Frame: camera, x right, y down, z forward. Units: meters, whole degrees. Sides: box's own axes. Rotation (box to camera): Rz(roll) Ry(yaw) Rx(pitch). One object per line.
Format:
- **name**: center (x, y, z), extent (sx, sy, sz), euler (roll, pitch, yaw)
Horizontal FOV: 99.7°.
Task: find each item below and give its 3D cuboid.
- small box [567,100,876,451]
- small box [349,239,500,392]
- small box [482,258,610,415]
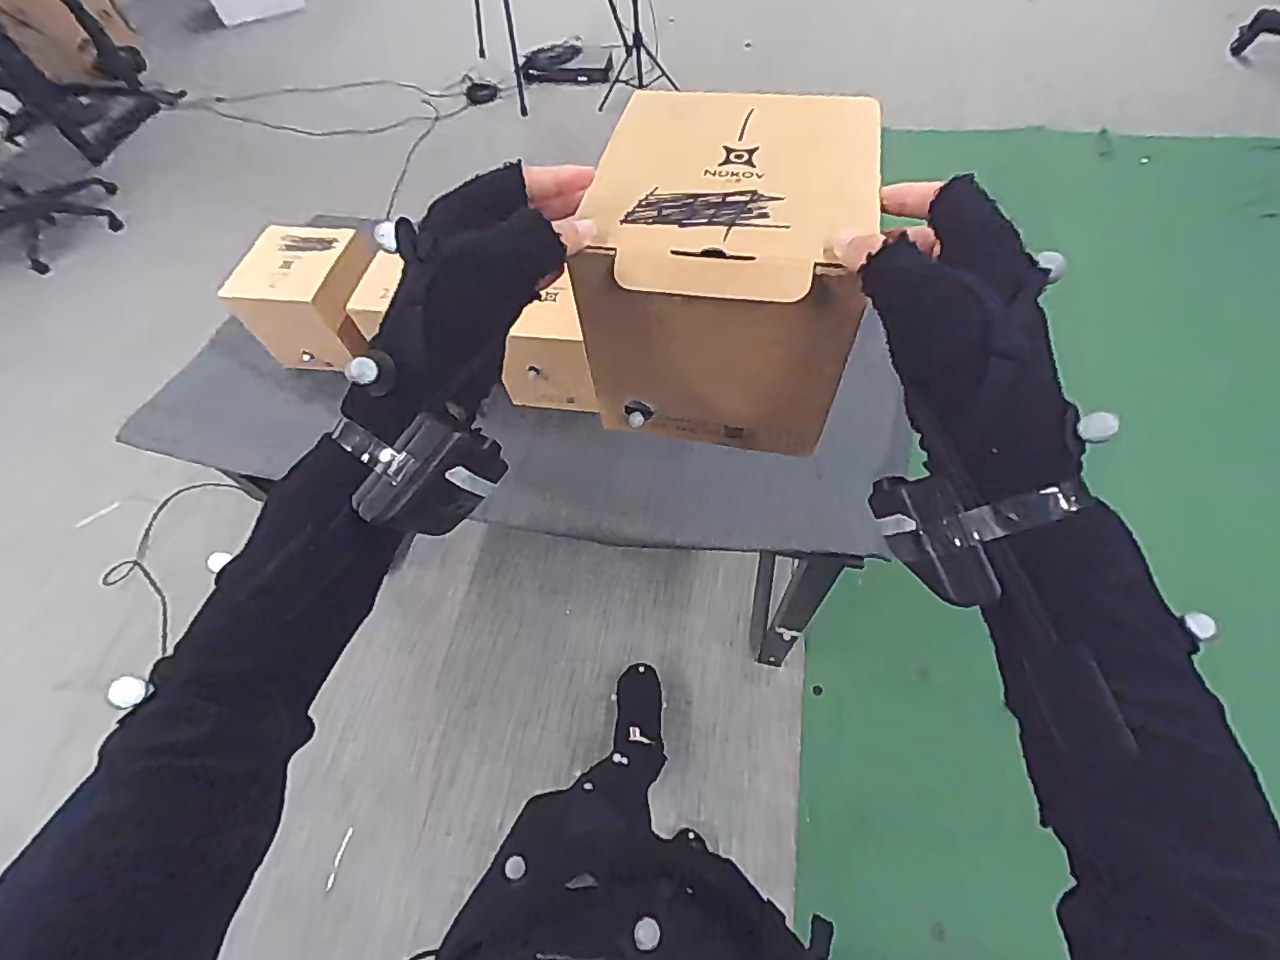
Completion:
- **small box**: center (0.062, -0.142, 0.395), extent (0.168, 0.176, 0.179), euler (9, 59, 10)
- **small box**: center (-0.337, -0.273, 0.902), extent (0.168, 0.176, 0.179), euler (6, 60, 8)
- **small box**: center (-0.122, -0.223, 0.857), extent (0.168, 0.176, 0.179), euler (6, 60, 9)
